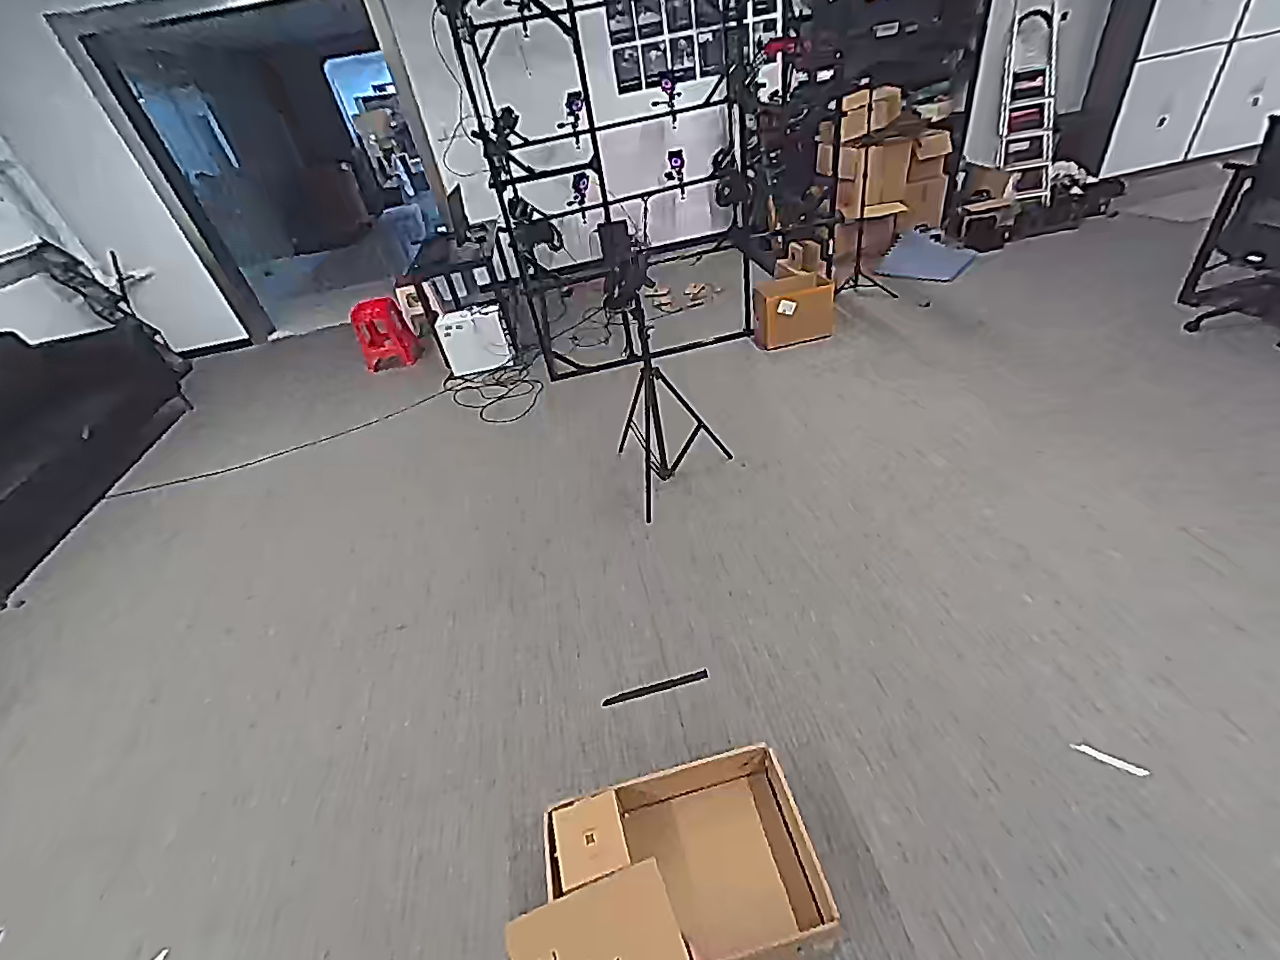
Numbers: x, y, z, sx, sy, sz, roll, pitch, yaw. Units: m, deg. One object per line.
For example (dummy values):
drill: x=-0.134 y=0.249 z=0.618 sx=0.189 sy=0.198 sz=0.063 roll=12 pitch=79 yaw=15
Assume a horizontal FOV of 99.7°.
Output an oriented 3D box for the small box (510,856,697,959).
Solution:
small box: x=-0.026 y=0.552 z=0.577 sx=0.179 sy=0.176 sz=0.168 roll=-15 pitch=37 yaw=-14
